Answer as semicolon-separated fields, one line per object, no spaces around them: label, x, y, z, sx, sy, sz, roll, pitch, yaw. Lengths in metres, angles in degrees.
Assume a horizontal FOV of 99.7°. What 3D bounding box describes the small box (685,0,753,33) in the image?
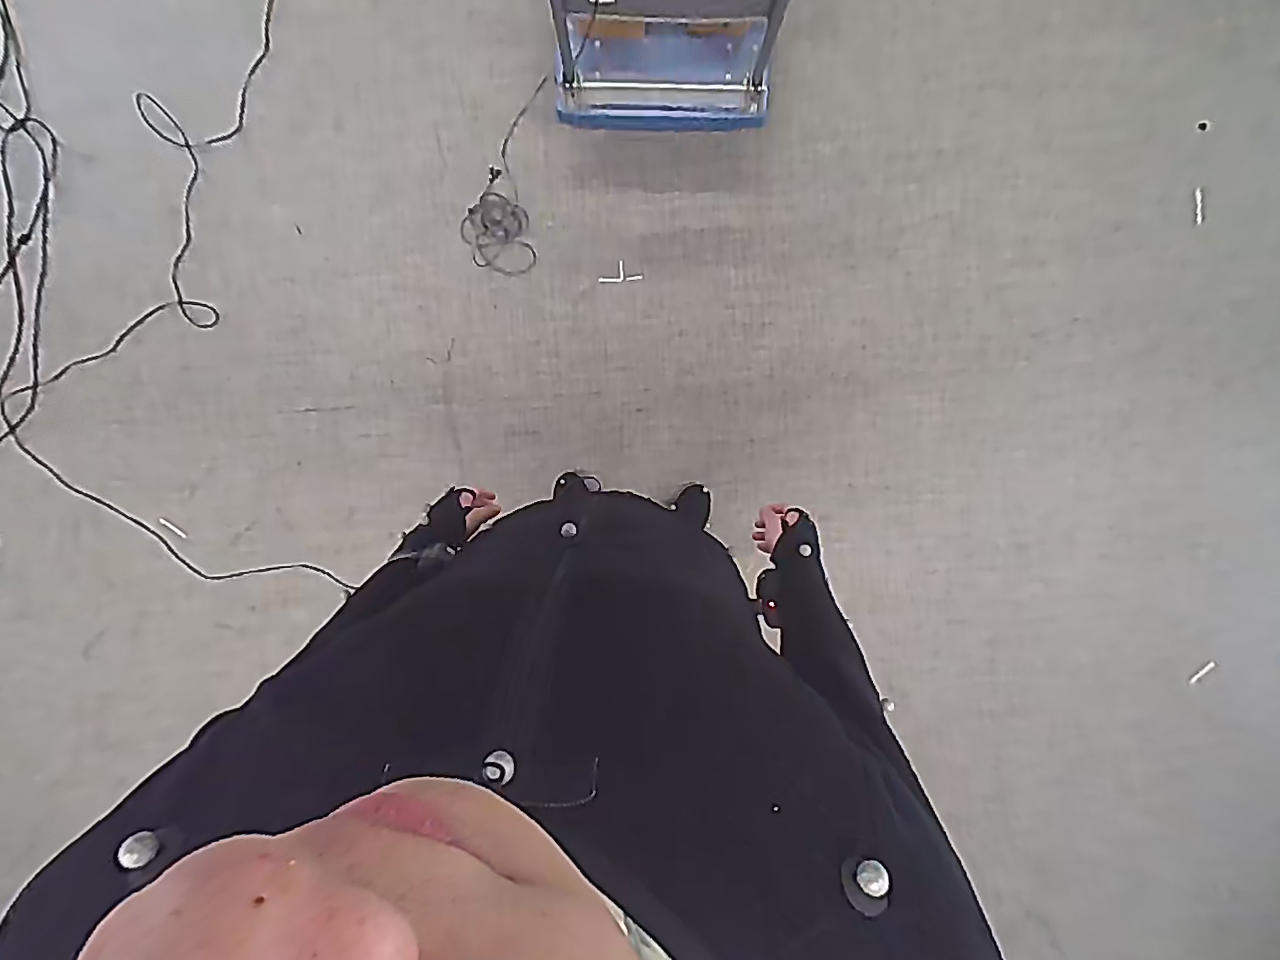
small box;0.203;-1.275;1.349;0.168;0.176;0.179;2;93;1
